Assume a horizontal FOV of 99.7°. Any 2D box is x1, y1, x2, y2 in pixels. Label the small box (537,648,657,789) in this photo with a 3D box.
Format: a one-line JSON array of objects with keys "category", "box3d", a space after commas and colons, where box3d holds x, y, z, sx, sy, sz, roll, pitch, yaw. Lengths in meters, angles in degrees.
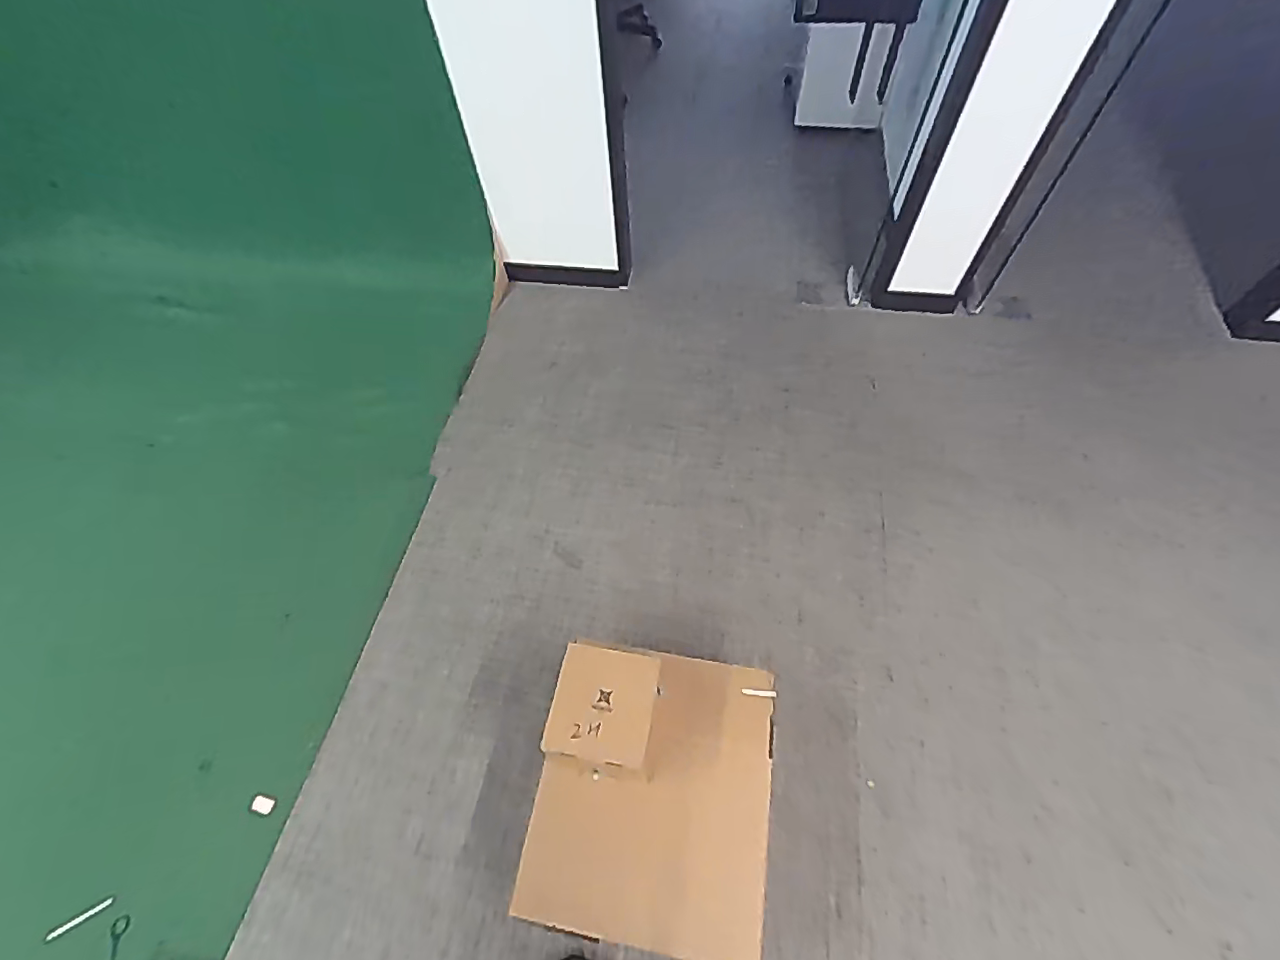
[{"category": "small box", "box3d": [-0.065, 0.418, 0.944, 0.168, 0.176, 0.179, 7, 55, 8]}]
